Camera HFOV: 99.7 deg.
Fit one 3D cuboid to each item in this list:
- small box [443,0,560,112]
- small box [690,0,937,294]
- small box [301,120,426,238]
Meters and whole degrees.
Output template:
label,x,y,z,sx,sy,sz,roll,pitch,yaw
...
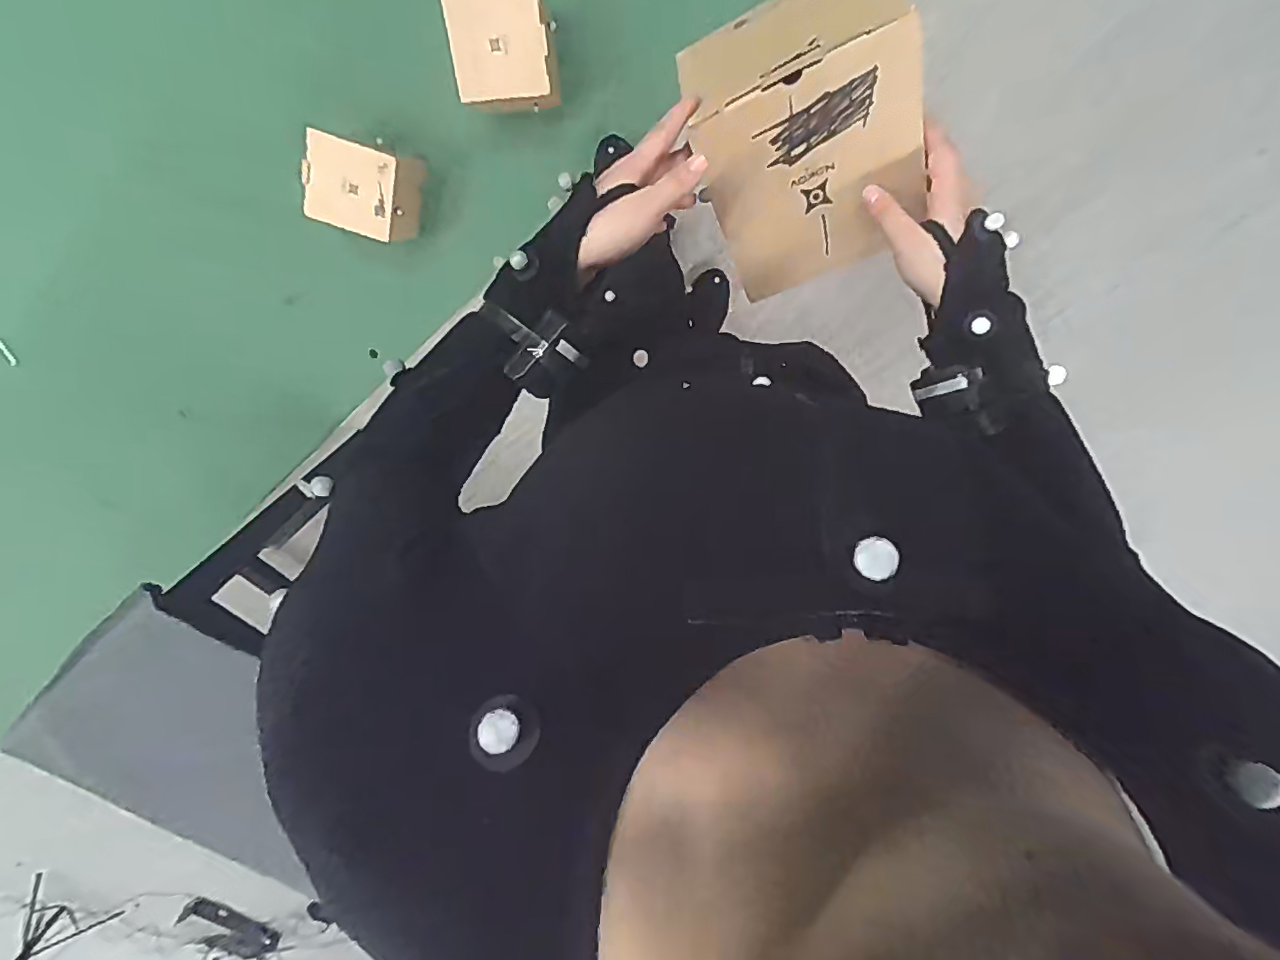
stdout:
label,x,y,z,sx,sy,sz,roll,pitch,yaw
small box,-0.254,-0.827,1.044,0.179,0.176,0.168,-4,117,3
small box,0.149,-0.310,0.483,0.168,0.176,0.179,-15,142,20
small box,-0.583,-0.632,1.149,0.179,0.176,0.168,17,117,-8
